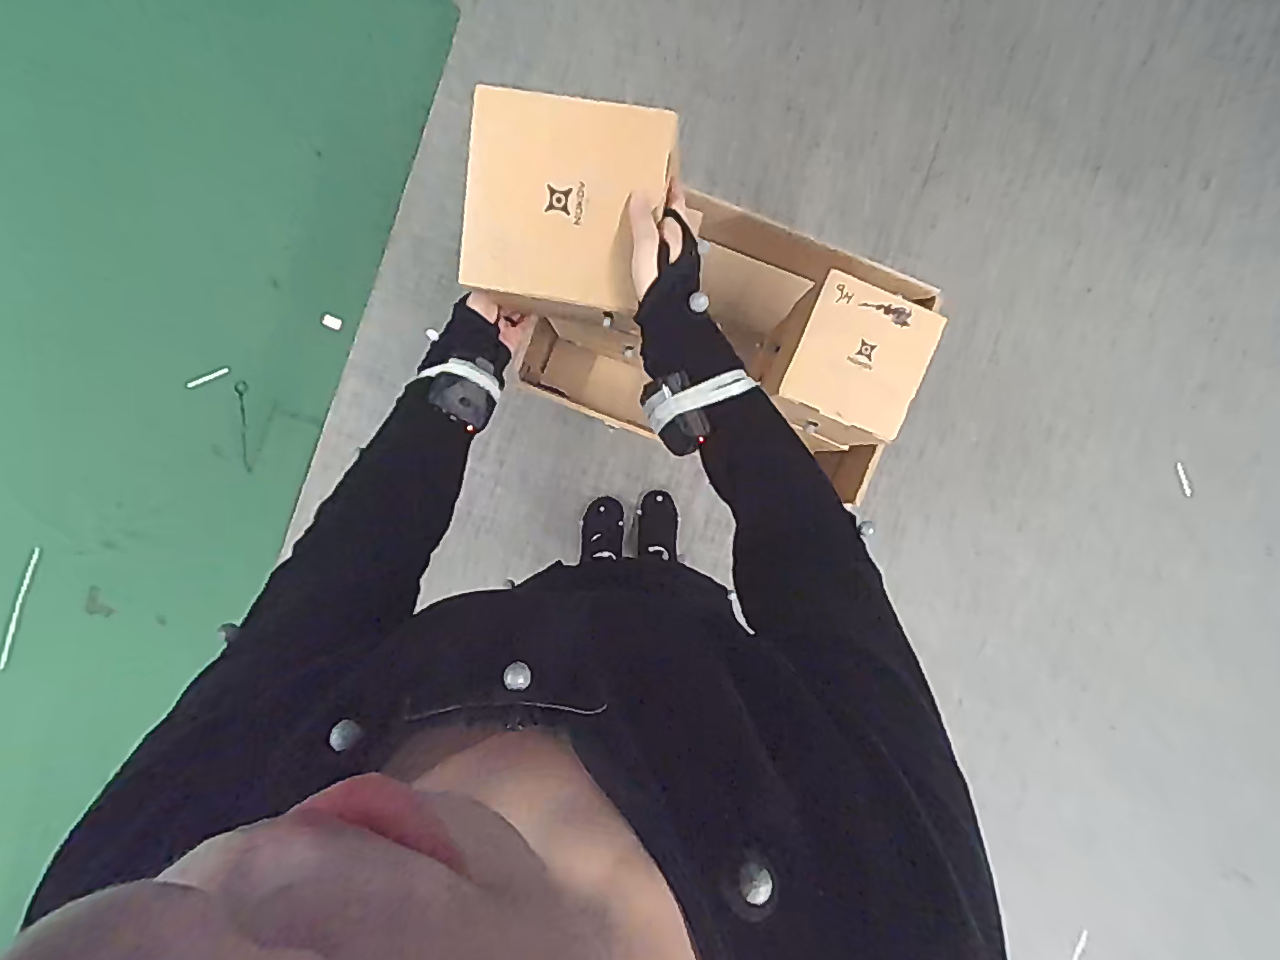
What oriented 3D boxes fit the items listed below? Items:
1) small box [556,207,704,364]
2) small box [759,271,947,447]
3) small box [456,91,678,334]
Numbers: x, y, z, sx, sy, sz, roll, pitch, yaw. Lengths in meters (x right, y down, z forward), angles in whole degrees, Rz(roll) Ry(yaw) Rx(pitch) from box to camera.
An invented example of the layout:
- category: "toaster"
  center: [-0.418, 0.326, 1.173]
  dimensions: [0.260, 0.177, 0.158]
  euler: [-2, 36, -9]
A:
- category: "small box"
  center: [-0.020, -0.277, 0.761]
  dimensions: [0.168, 0.176, 0.179]
  euler: [17, 92, -1]
- category: "small box"
  center: [0.282, -0.158, 0.766]
  dimensions: [0.168, 0.176, 0.179]
  euler: [24, 93, -2]
- category: "small box"
  center: [-0.061, -0.246, 0.541]
  dimensions: [0.179, 0.176, 0.168]
  euler: [9, 101, 2]
